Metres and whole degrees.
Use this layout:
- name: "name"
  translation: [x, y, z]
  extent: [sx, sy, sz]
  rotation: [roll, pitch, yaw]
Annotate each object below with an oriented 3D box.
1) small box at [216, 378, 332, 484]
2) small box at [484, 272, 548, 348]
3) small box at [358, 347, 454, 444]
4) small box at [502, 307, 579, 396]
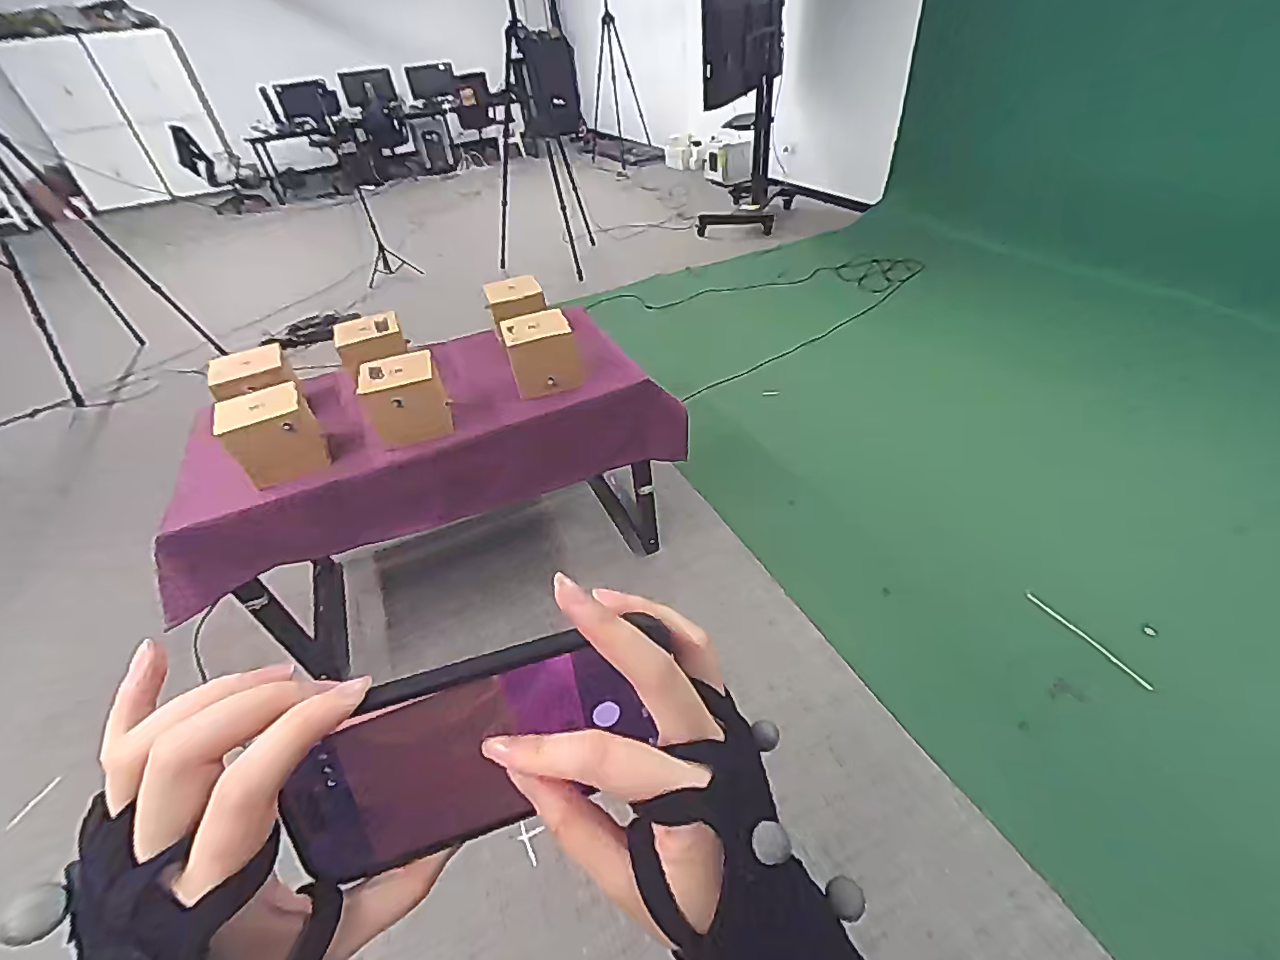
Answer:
- name: "small box"
  translation: [-0.881, -0.117, 1.308]
  extent: [0.179, 0.176, 0.168]
  rotation: [-24, 44, -21]
- name: "small box"
  translation: [-0.389, -0.542, 1.729]
  extent: [0.168, 0.176, 0.179]
  rotation: [-18, 43, -13]
- name: "small box"
  translation: [-0.592, -0.214, 1.382]
  extent: [0.179, 0.176, 0.168]
  rotation: [-15, 42, -12]
- name: "small box"
  translation: [-0.272, -0.356, 1.505]
  extent: [0.179, 0.176, 0.168]
  rotation: [-15, 41, -11]
